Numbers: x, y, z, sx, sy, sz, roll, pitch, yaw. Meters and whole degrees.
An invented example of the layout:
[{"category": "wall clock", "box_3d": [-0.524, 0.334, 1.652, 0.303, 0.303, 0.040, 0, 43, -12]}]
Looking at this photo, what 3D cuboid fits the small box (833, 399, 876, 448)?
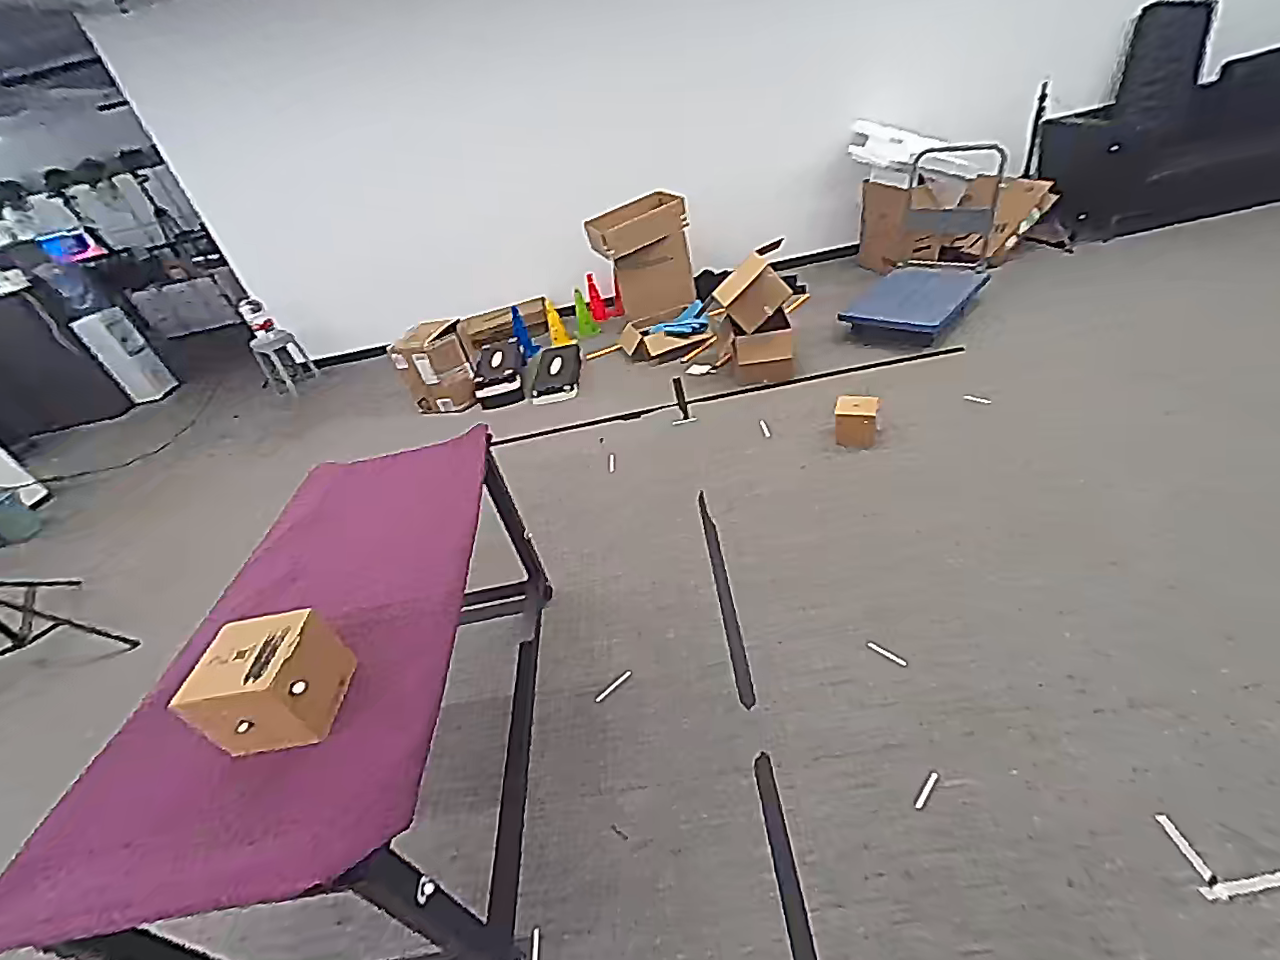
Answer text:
[{"category": "small box", "box_3d": [1.003, -0.265, 2.531, 0.179, 0.176, 0.168, 5, 39, 23]}]
